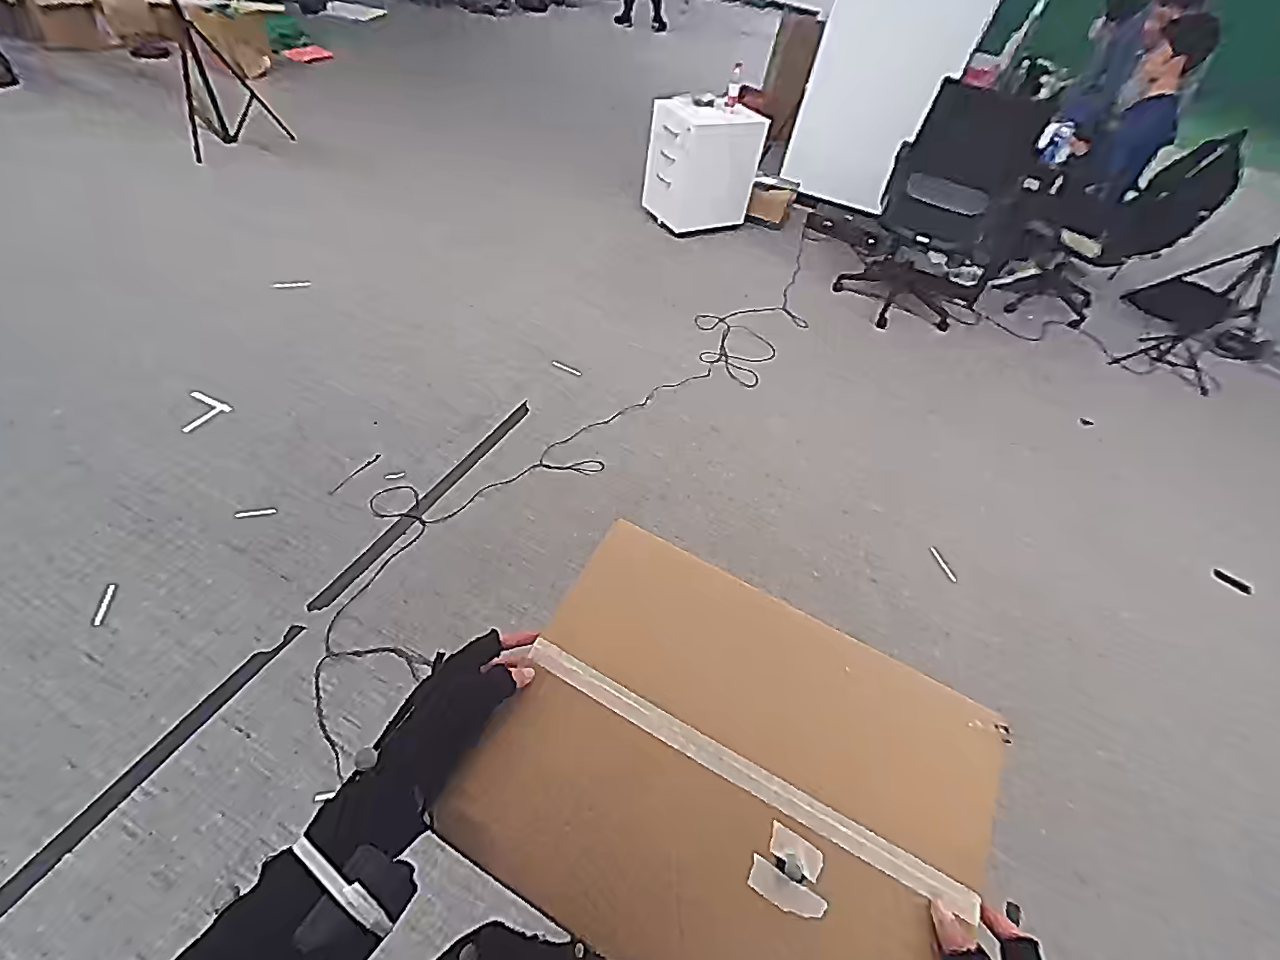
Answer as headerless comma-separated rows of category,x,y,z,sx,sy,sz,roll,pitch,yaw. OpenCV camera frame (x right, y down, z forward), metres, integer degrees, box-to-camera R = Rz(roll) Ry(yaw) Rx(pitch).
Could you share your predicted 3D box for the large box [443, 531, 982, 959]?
large box,0.069,0.325,0.602,0.408,0.320,0.320,27,61,12
